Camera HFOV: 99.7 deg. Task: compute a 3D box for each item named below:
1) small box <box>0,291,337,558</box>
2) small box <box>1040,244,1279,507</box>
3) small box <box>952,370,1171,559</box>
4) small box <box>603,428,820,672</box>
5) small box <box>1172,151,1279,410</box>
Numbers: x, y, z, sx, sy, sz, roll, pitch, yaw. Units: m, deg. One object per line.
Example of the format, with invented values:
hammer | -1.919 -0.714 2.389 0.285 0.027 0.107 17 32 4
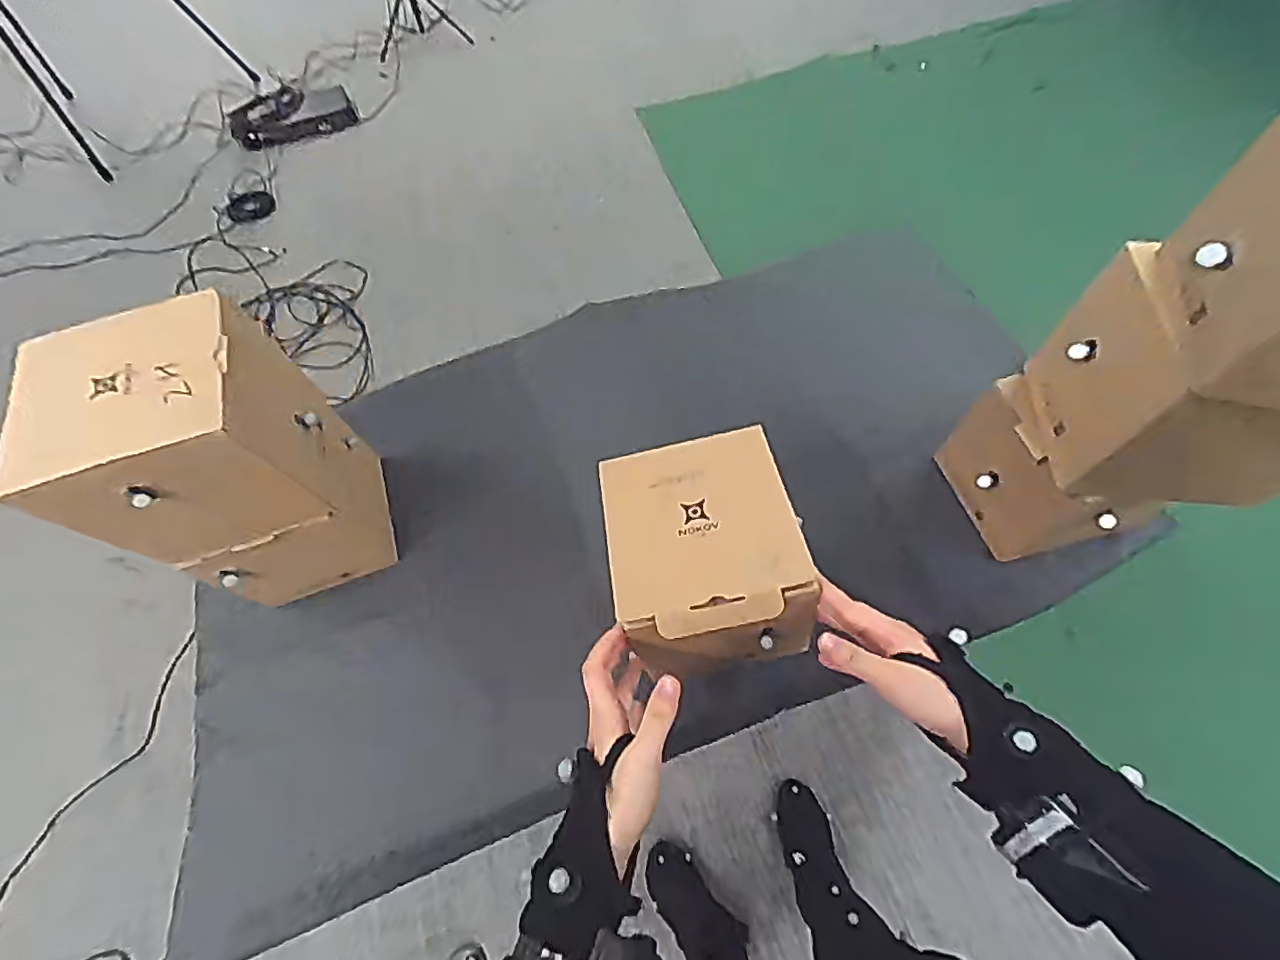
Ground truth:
small box | -0.430 -0.043 0.522 0.179 0.176 0.168 -19 66 -6
small box | 0.504 -0.087 0.490 0.179 0.176 0.168 5 62 6
small box | 0.506 -0.022 0.641 0.179 0.176 0.168 -14 62 -3
small box | 0.069 0.081 0.544 0.168 0.176 0.179 -13 54 4
small box | 0.499 -0.144 0.334 0.179 0.176 0.168 13 63 11
